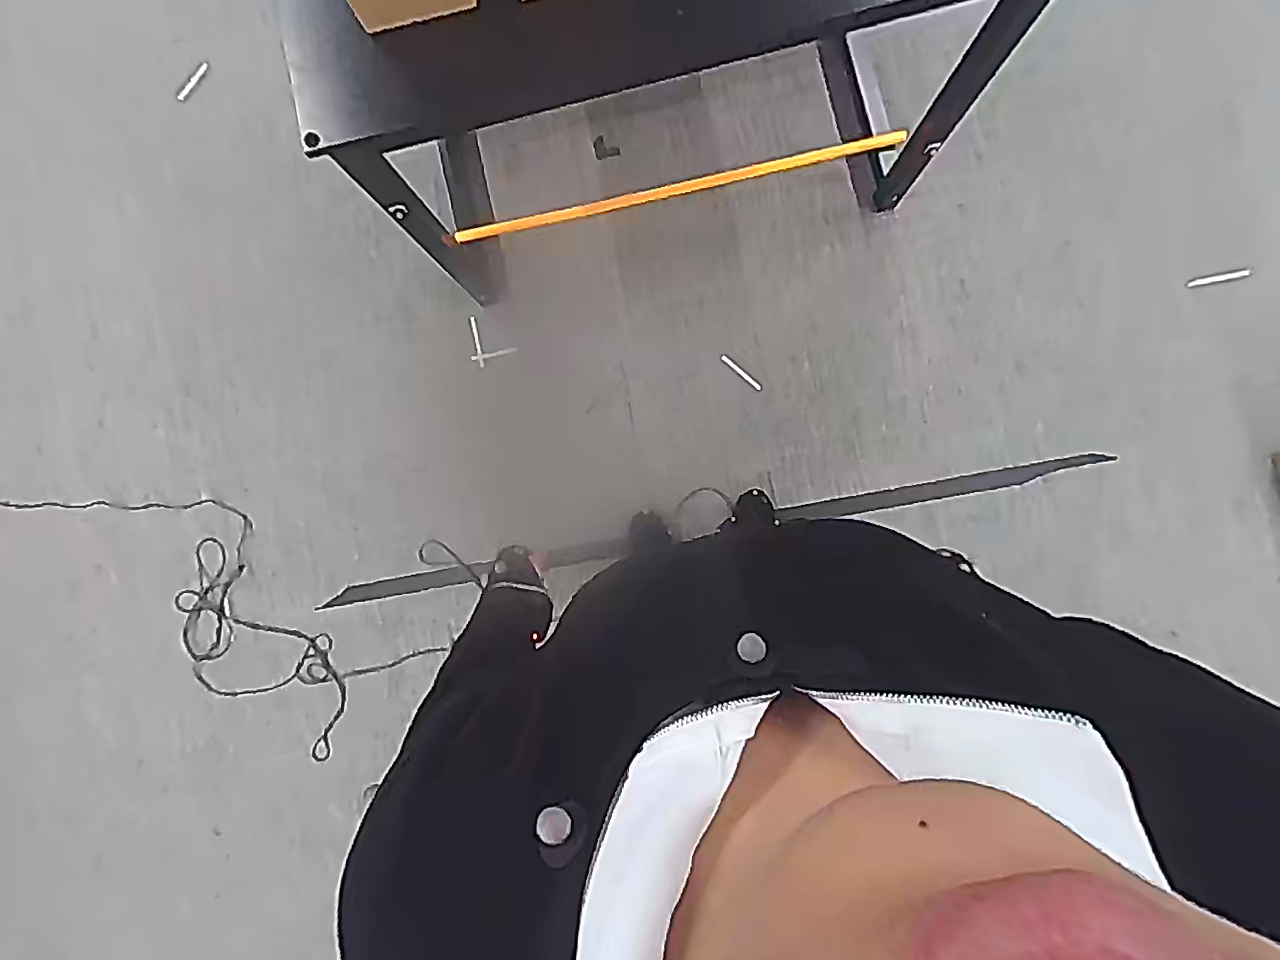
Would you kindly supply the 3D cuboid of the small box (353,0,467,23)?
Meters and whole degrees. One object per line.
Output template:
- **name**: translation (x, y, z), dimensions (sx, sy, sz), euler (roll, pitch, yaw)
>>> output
- **small box**: translation (-0.349, -0.783, 0.741), dimensions (0.179, 0.176, 0.168), euler (-12, 88, 2)
